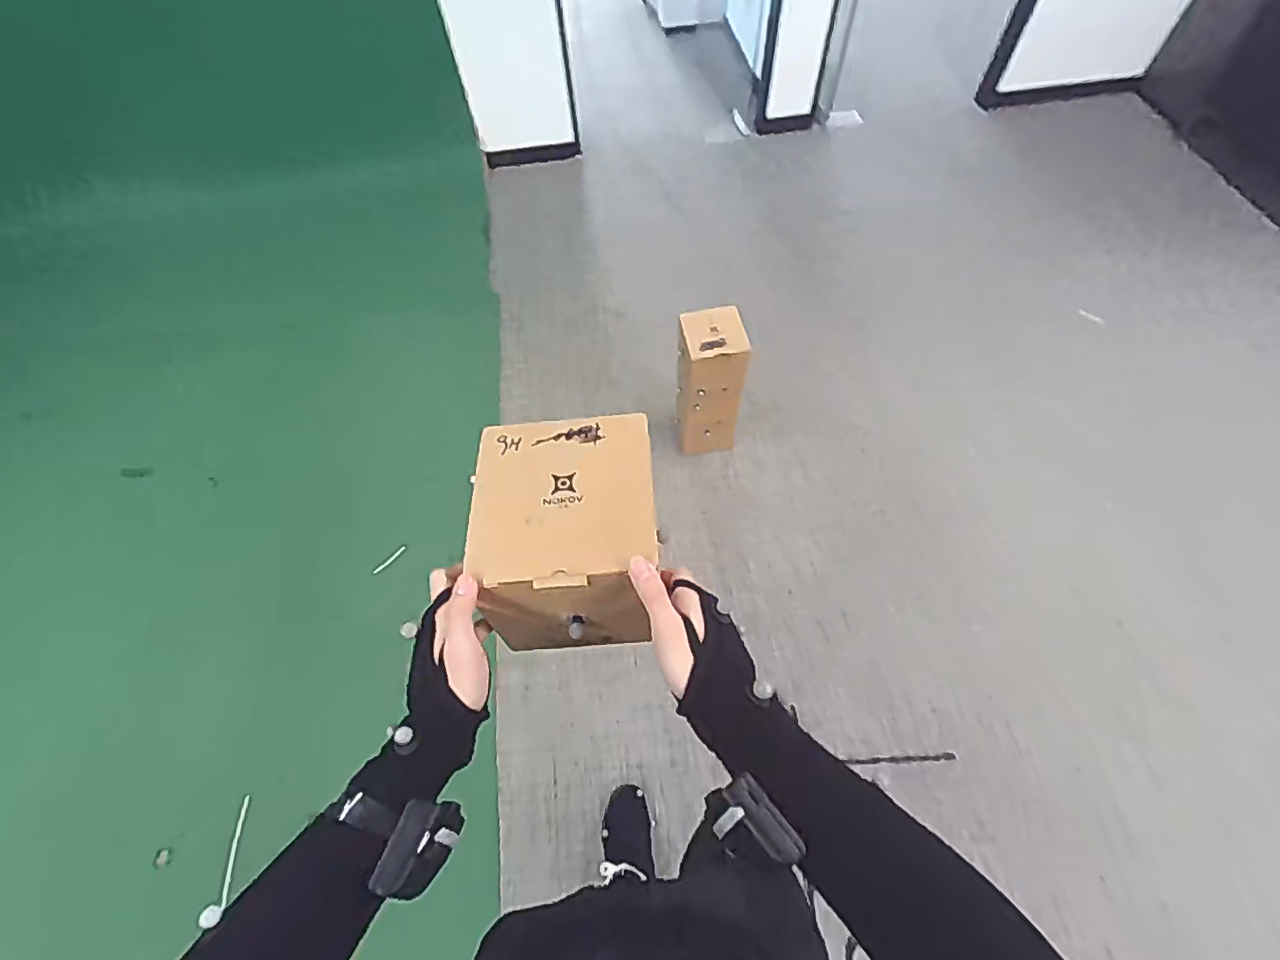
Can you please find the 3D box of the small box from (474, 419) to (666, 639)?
[{"bbox_3d":[-0.060,0.060,0.571,0.168,0.176,0.179,-4,54,1],"label":"small box"}]

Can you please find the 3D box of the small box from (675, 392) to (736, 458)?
[{"bbox_3d":[0.217,-0.189,1.836,0.179,0.176,0.168,-8,60,-2],"label":"small box"}]

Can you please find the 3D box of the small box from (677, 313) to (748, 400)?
[{"bbox_3d":[0.203,-0.346,1.548,0.168,0.176,0.179,-9,58,-3],"label":"small box"}]
